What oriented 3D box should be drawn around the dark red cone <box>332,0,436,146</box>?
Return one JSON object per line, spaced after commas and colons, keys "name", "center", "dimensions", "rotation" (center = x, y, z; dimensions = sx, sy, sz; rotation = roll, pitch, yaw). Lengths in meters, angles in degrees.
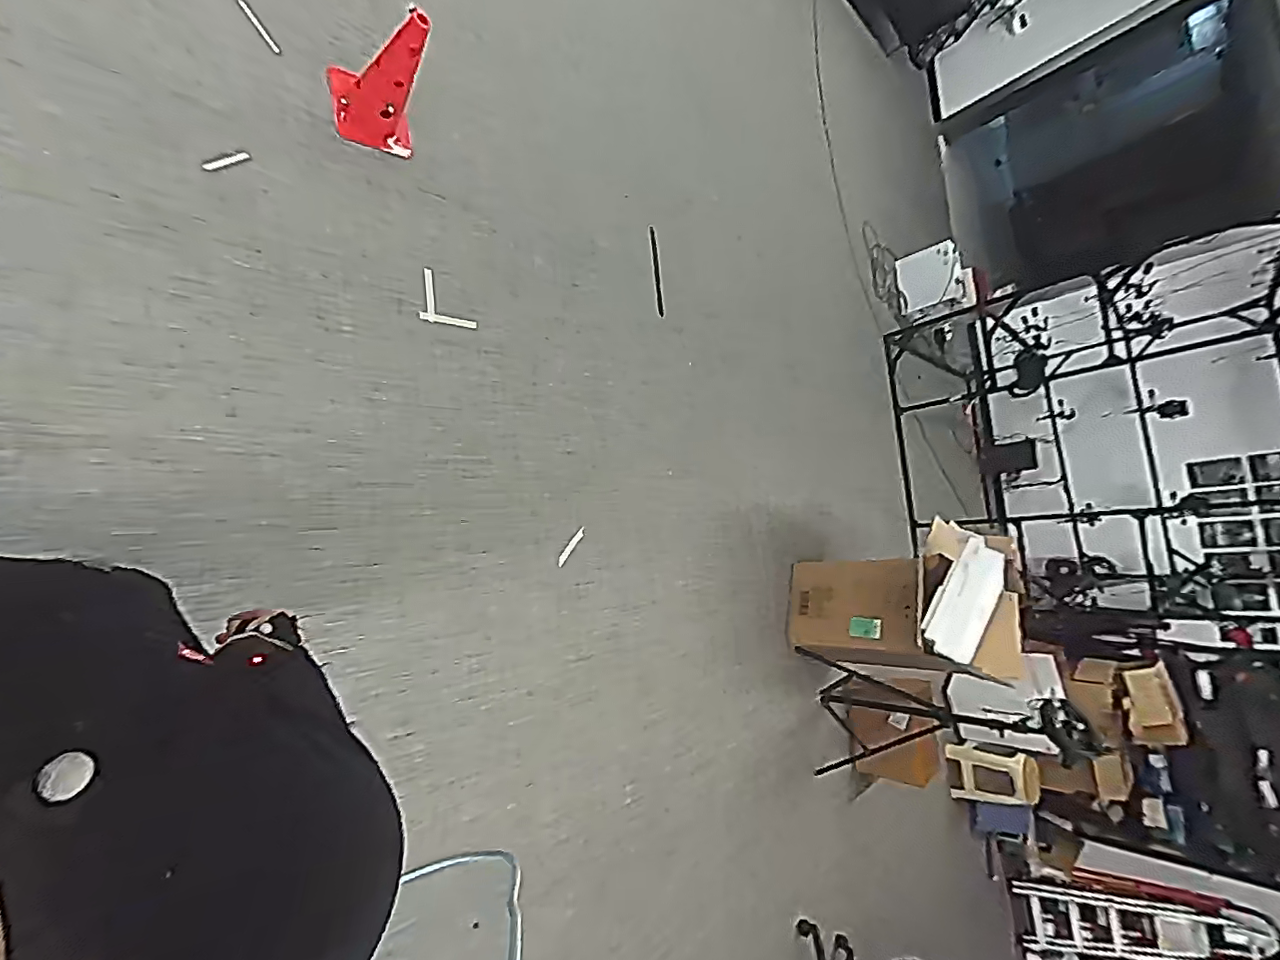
{"name": "dark red cone", "center": [-0.602, -1.040, 1.342], "dimensions": [0.201, 0.394, 0.202], "rotation": [-9, 89, -44]}
